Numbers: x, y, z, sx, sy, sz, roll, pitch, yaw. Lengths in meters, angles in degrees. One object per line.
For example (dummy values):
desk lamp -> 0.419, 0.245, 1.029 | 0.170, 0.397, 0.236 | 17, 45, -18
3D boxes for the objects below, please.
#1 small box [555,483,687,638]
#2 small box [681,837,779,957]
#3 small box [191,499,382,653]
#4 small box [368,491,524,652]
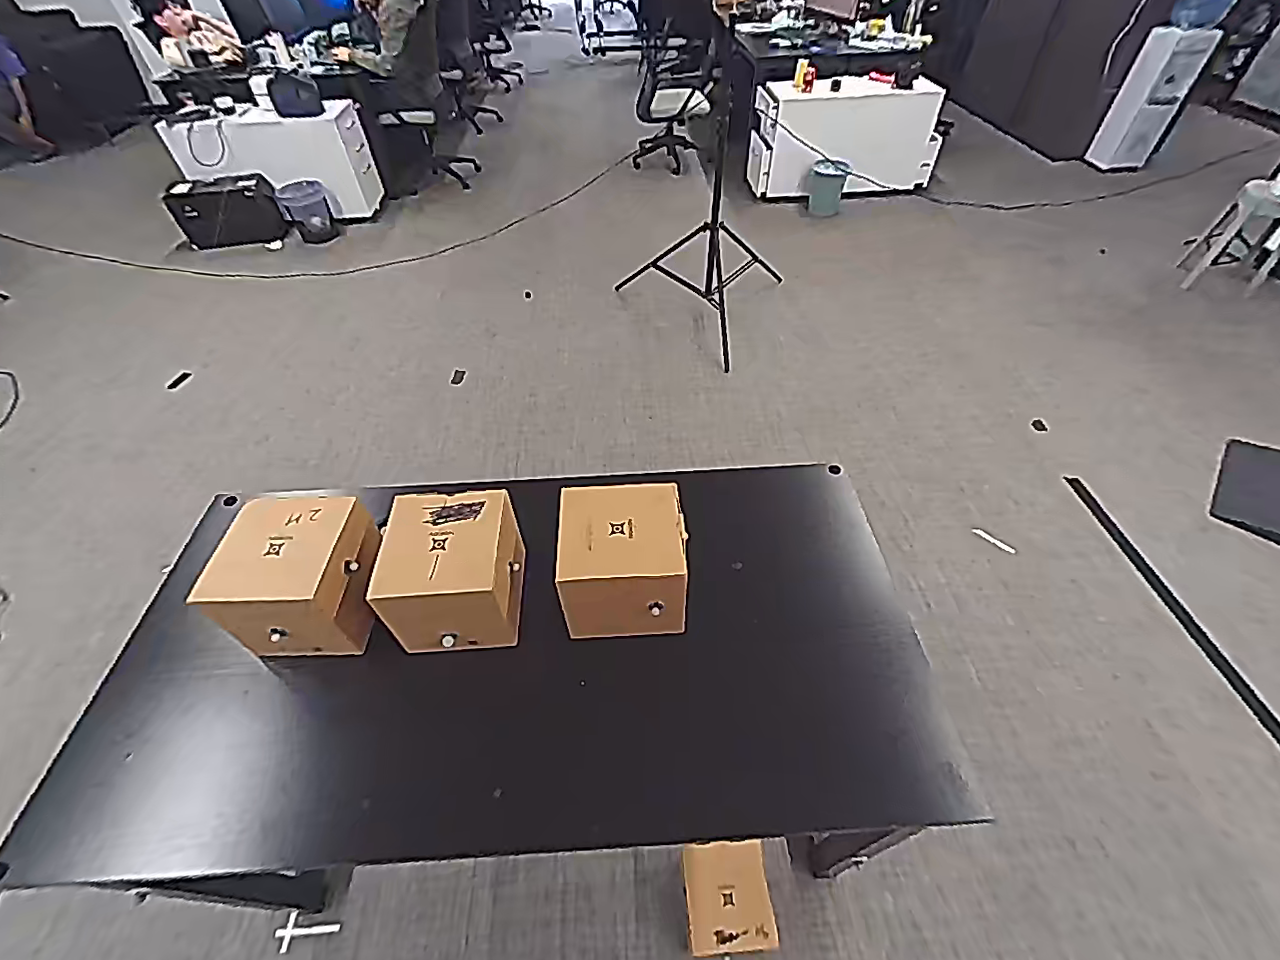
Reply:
small box -> -0.027, 0.124, 0.820 | 0.179, 0.176, 0.168 | -4, 47, 0
small box -> 0.176, 0.866, 1.122 | 0.168, 0.176, 0.179 | -5, 47, -1
small box -> -0.499, 0.148, 0.811 | 0.168, 0.176, 0.179 | -1, 48, 0
small box -> -0.274, 0.138, 0.813 | 0.168, 0.176, 0.179 | -4, 49, -2
